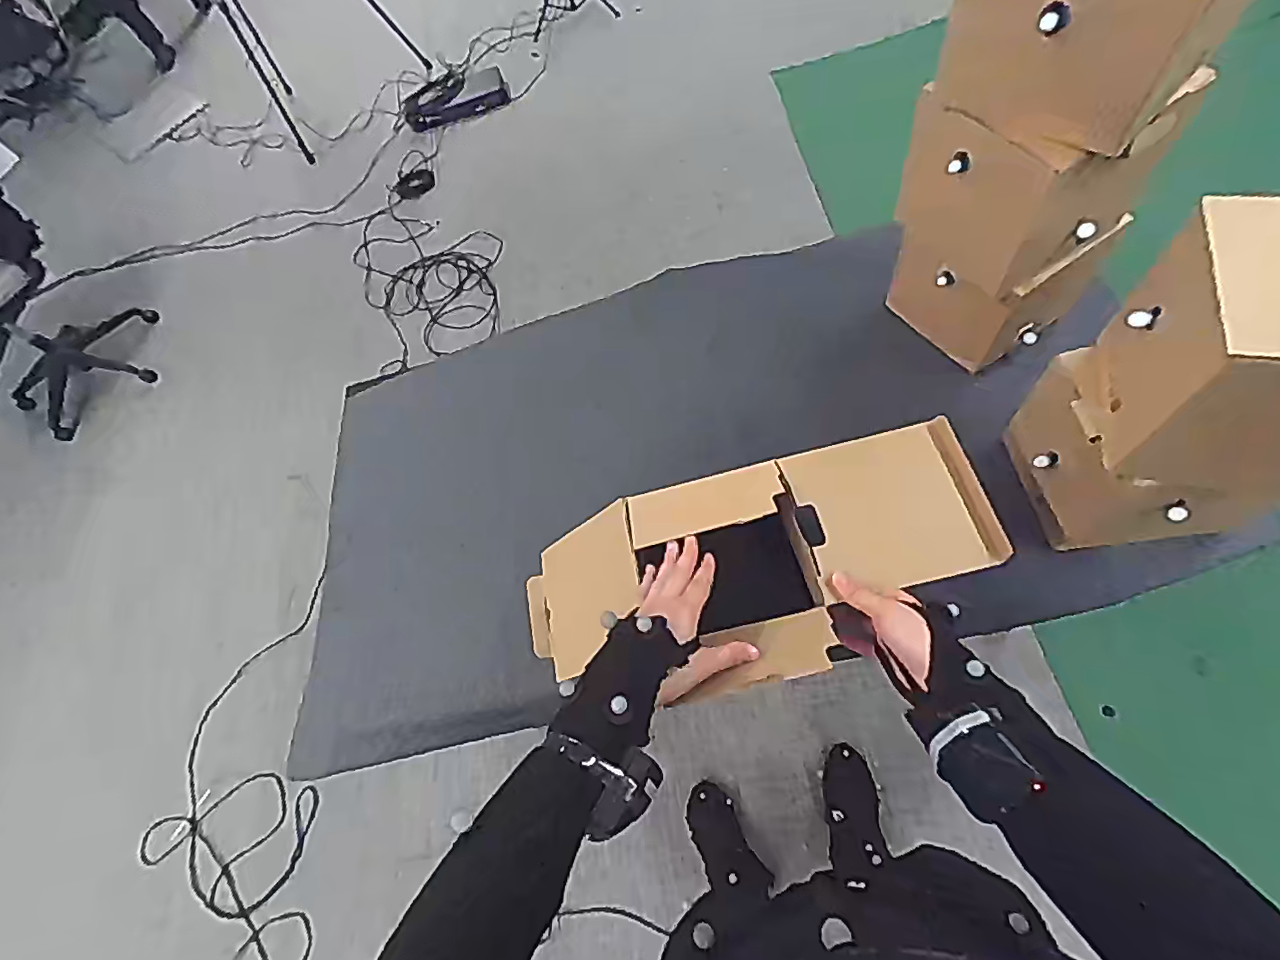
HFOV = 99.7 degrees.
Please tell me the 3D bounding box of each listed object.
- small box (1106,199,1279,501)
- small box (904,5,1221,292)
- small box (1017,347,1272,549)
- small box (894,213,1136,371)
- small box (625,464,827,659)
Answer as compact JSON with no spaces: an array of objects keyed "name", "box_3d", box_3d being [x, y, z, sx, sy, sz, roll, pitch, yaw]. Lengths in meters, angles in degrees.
[{"name":"small box","box_3d":[0.515,-0.096,0.435,0.179,0.176,0.168,11,66,18]},{"name":"small box","box_3d":[0.414,-0.340,0.576,0.168,0.176,0.179,-32,63,2]},{"name":"small box","box_3d":[0.545,-0.035,0.584,0.179,0.176,0.168,-9,61,10]},{"name":"small box","box_3d":[0.472,-0.281,0.720,0.168,0.176,0.179,-35,64,-1]},{"name":"small box","box_3d":[0.095,0.104,0.626,0.179,0.176,0.168,-15,66,6]}]
